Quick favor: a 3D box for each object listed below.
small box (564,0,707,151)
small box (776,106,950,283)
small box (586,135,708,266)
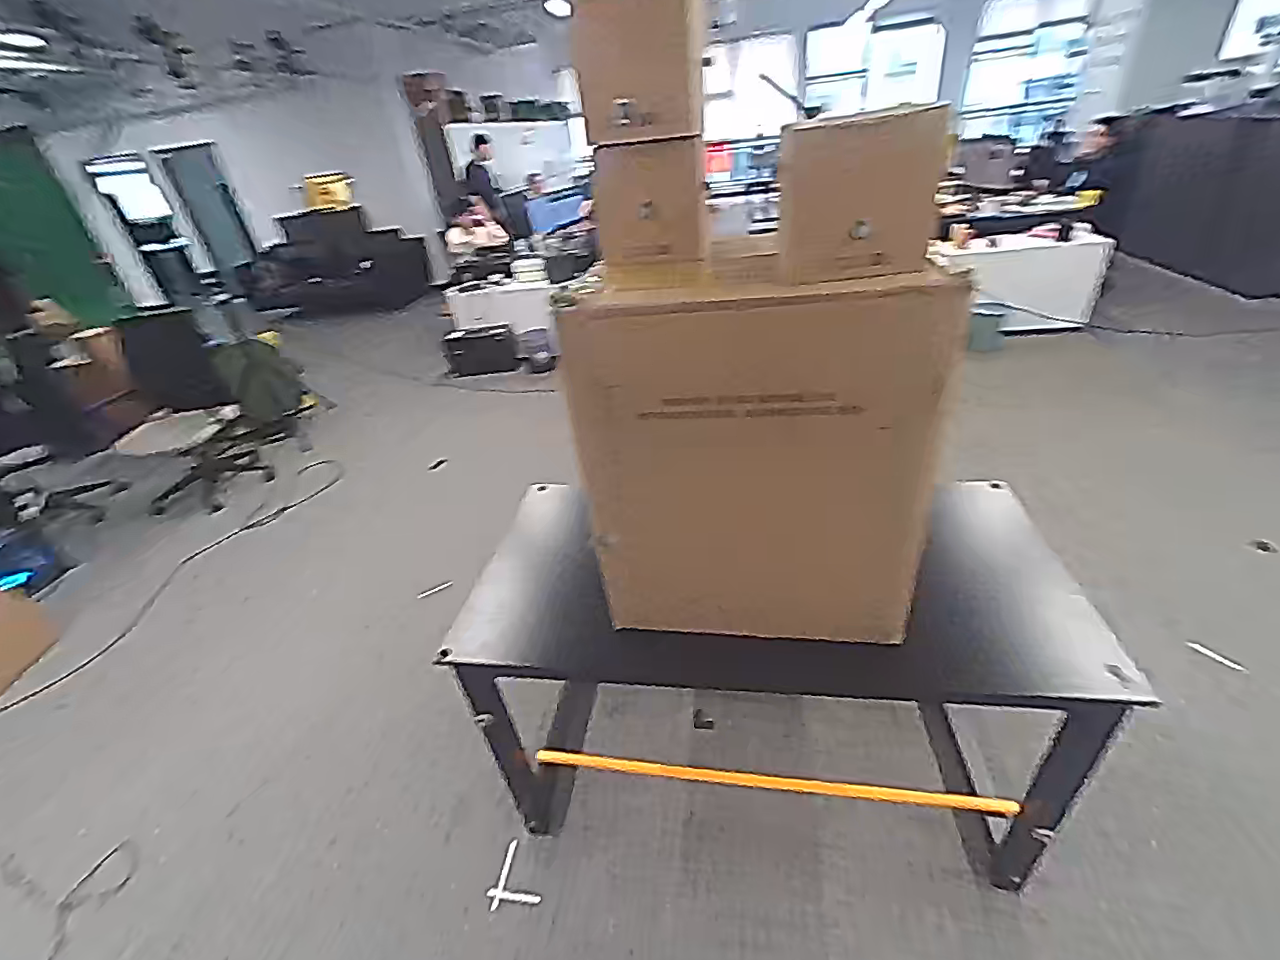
[{"bbox_3d":[0.006,-0.581,0.781,0.168,0.176,0.179,1,34,13],"label":"small box"},{"bbox_3d":[0.264,-0.361,0.688,0.168,0.176,0.179,-3,34,10],"label":"small box"},{"bbox_3d":[0.022,-0.453,0.882,0.168,0.176,0.179,1,34,11],"label":"small box"}]
